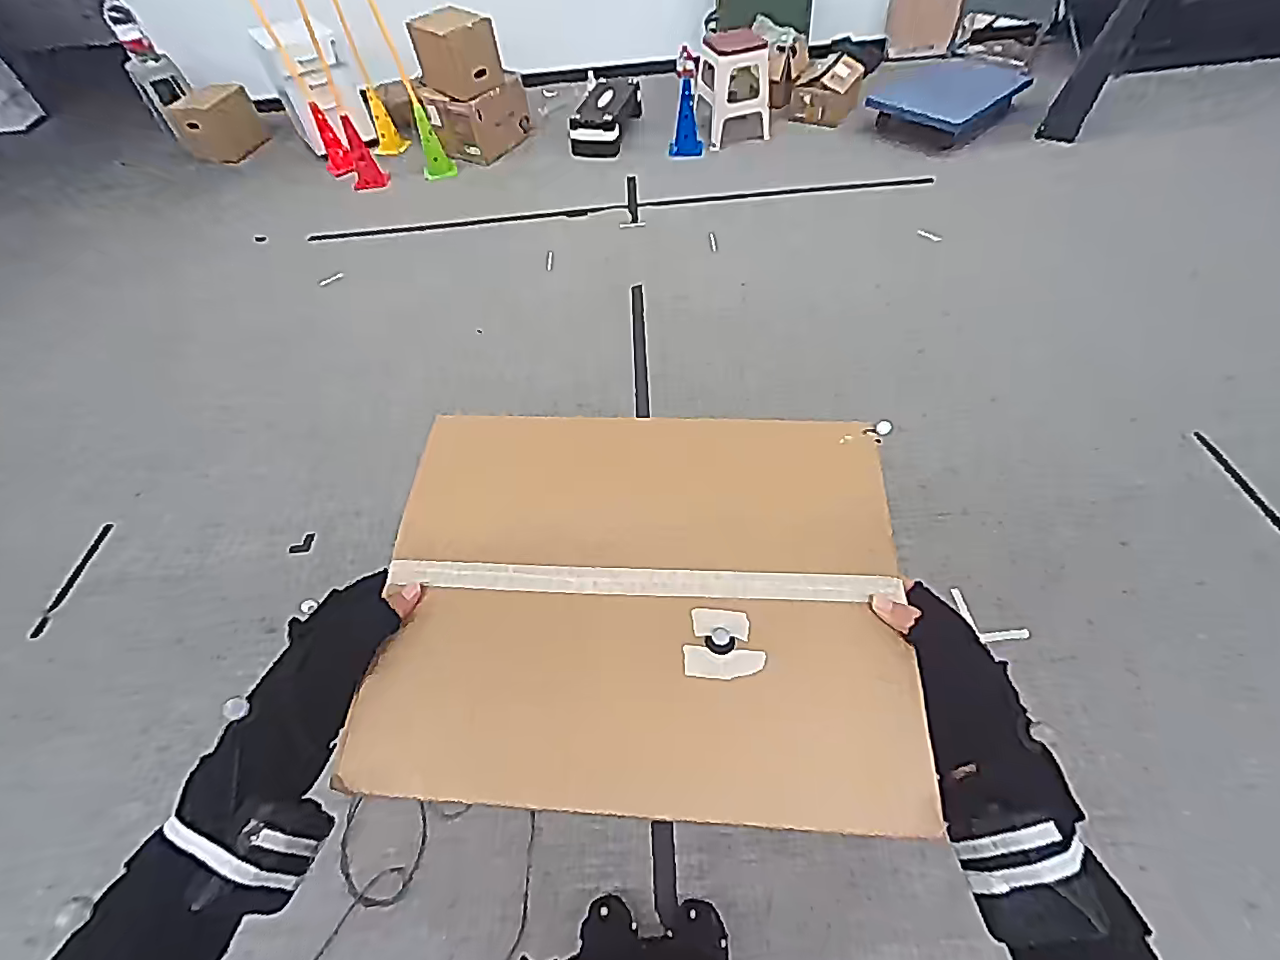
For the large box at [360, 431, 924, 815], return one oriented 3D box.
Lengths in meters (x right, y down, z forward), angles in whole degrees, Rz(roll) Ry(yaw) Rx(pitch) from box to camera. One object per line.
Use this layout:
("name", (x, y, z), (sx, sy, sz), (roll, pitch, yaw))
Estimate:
("large box", (0.009, 0.161, 0.575), (0.408, 0.320, 0.320), (1, 61, 5))
